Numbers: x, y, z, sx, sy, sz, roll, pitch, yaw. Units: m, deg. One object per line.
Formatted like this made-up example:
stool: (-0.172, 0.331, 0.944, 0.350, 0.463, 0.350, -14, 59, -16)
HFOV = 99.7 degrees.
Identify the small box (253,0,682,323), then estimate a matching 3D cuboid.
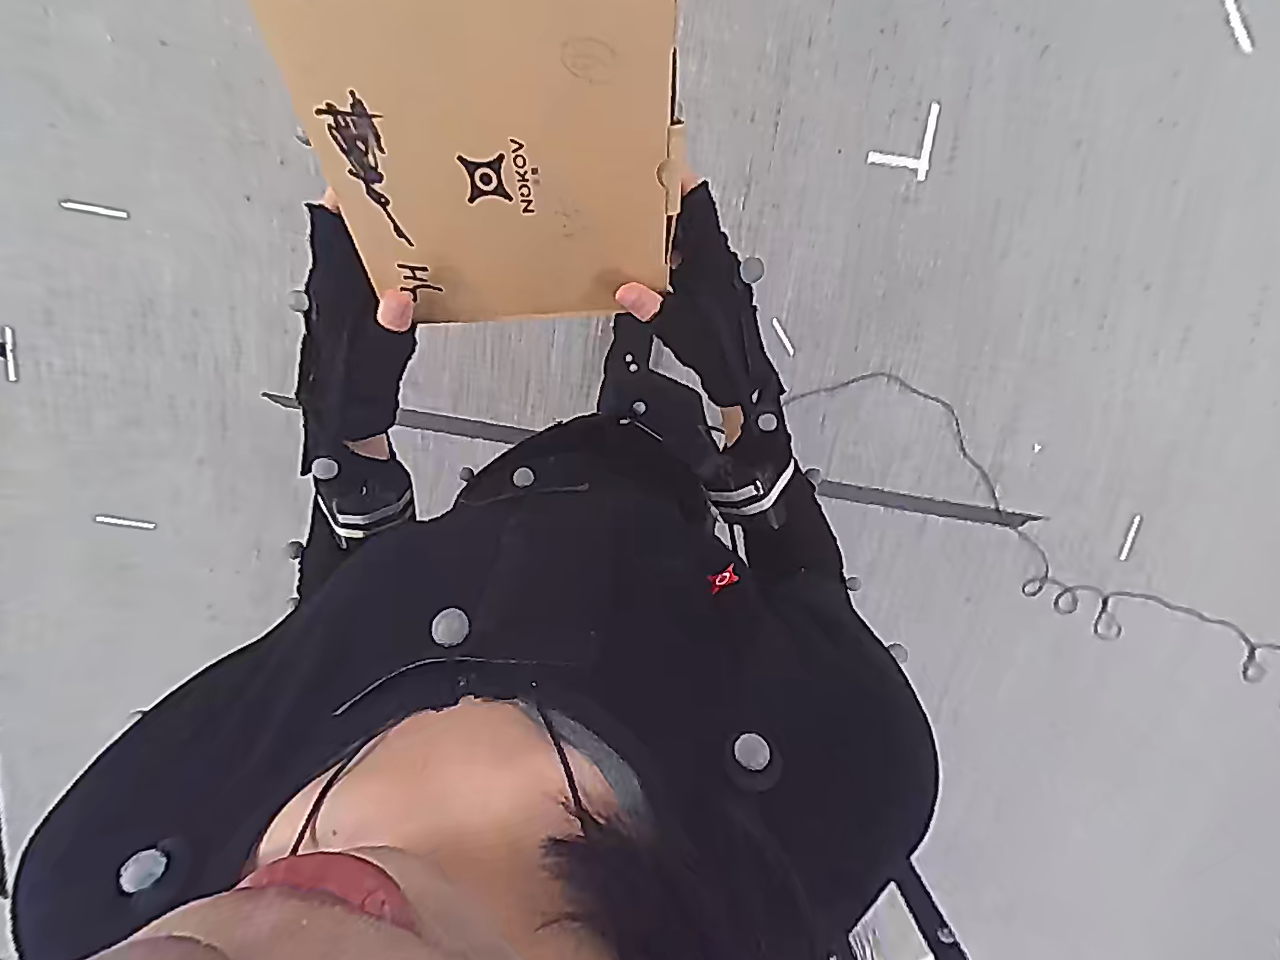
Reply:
small box: (-0.078, -0.217, 0.327, 0.179, 0.176, 0.168, -5, 141, -4)
